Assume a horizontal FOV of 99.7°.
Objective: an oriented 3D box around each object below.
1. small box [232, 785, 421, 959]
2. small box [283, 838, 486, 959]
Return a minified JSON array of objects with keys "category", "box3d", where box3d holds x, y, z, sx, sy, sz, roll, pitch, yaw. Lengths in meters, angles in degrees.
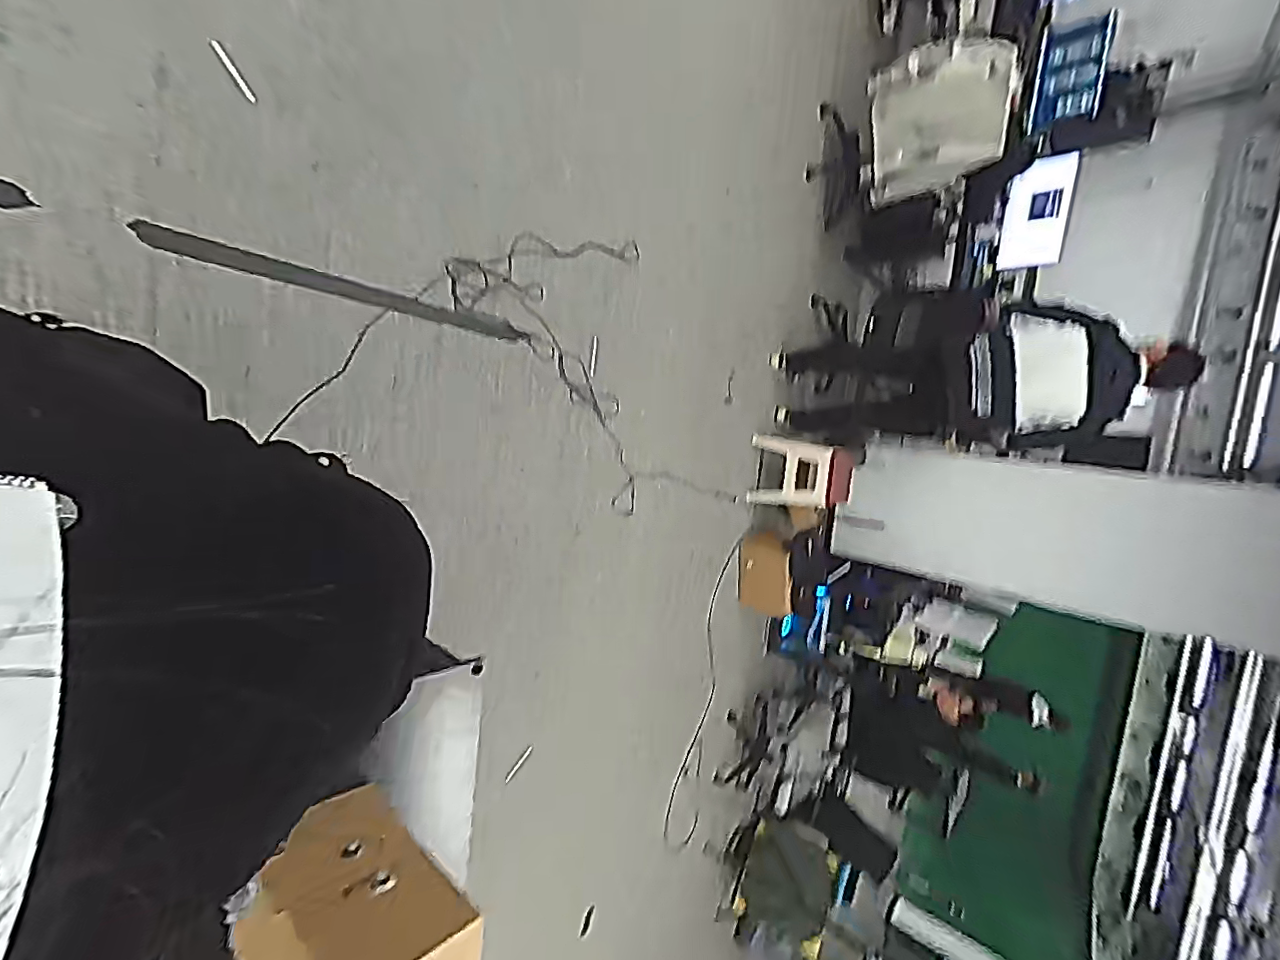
[{"category":"small box","box3d":[-0.434,0.566,0.751,0.179,0.176,0.168,2,97,-49]},{"category":"small box","box3d":[-0.309,0.587,0.649,0.168,0.176,0.179,-1,98,-51]}]
